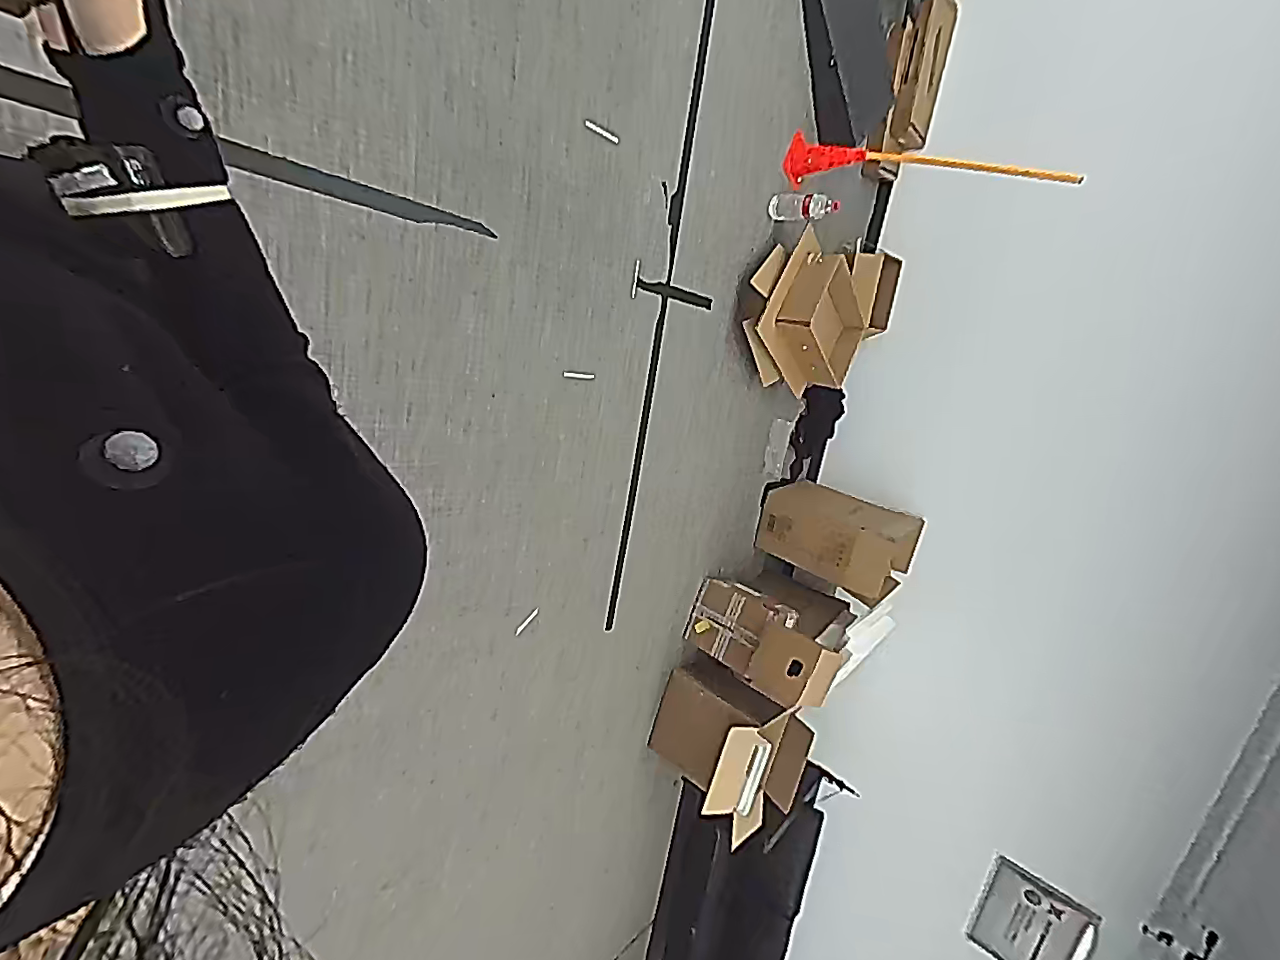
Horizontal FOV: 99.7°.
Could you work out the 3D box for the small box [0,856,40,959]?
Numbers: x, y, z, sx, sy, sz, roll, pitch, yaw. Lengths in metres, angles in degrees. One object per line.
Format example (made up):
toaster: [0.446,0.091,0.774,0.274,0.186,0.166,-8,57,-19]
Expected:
small box: [-1.117,0.779,0.885,0.168,0.176,0.179,-11,114,-48]

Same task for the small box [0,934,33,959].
small box: [-1.000,0.820,0.781,0.168,0.176,0.179,-12,117,-46]
